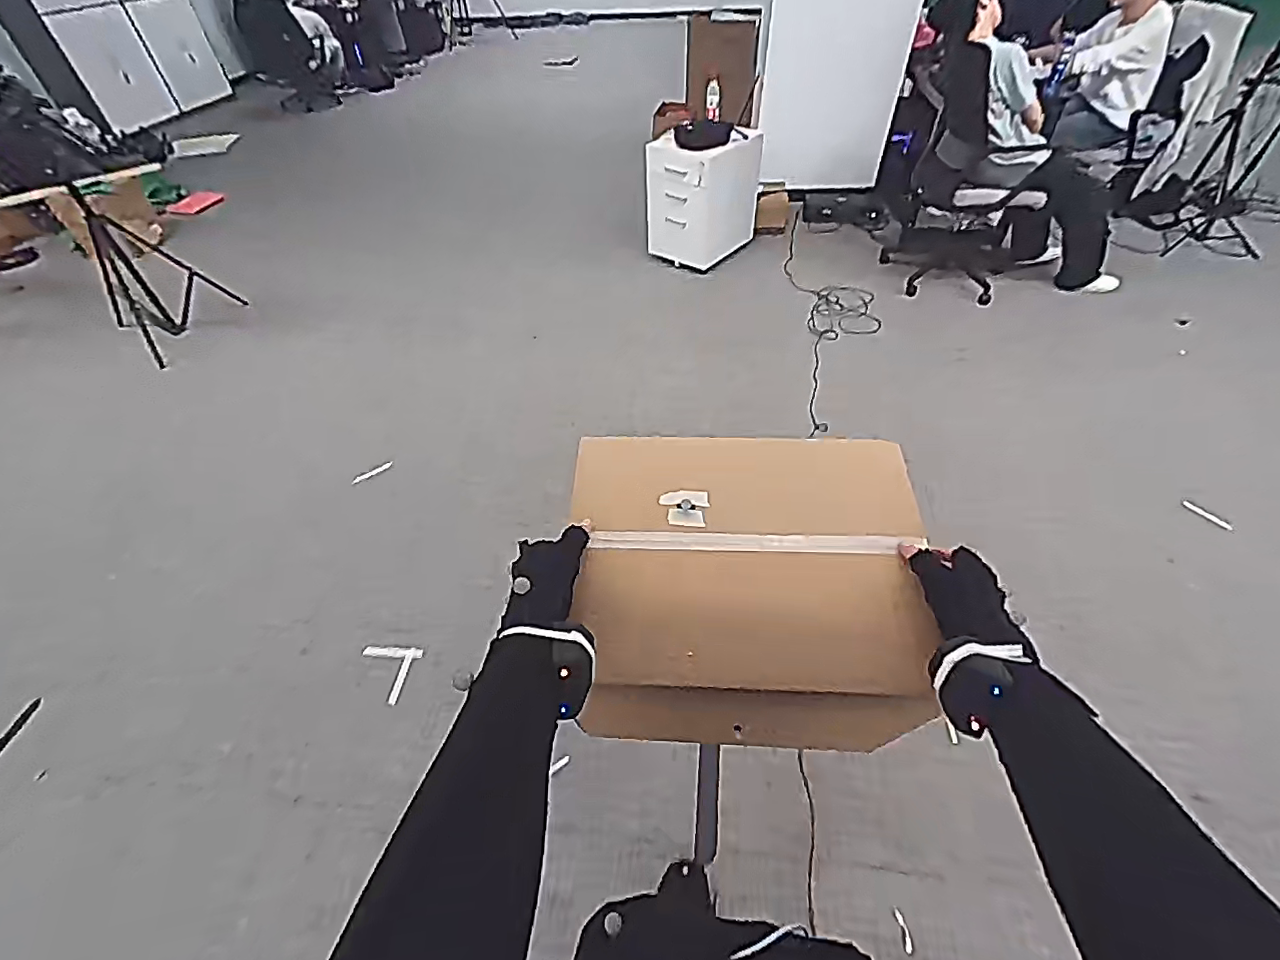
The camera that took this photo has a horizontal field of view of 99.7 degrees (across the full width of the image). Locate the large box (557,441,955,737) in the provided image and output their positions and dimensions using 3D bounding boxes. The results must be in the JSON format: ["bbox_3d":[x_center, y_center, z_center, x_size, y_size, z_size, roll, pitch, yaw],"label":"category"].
[{"bbox_3d":[0.129,0.160,0.745,0.408,0.320,0.320,1,55,5],"label":"large box"}]
